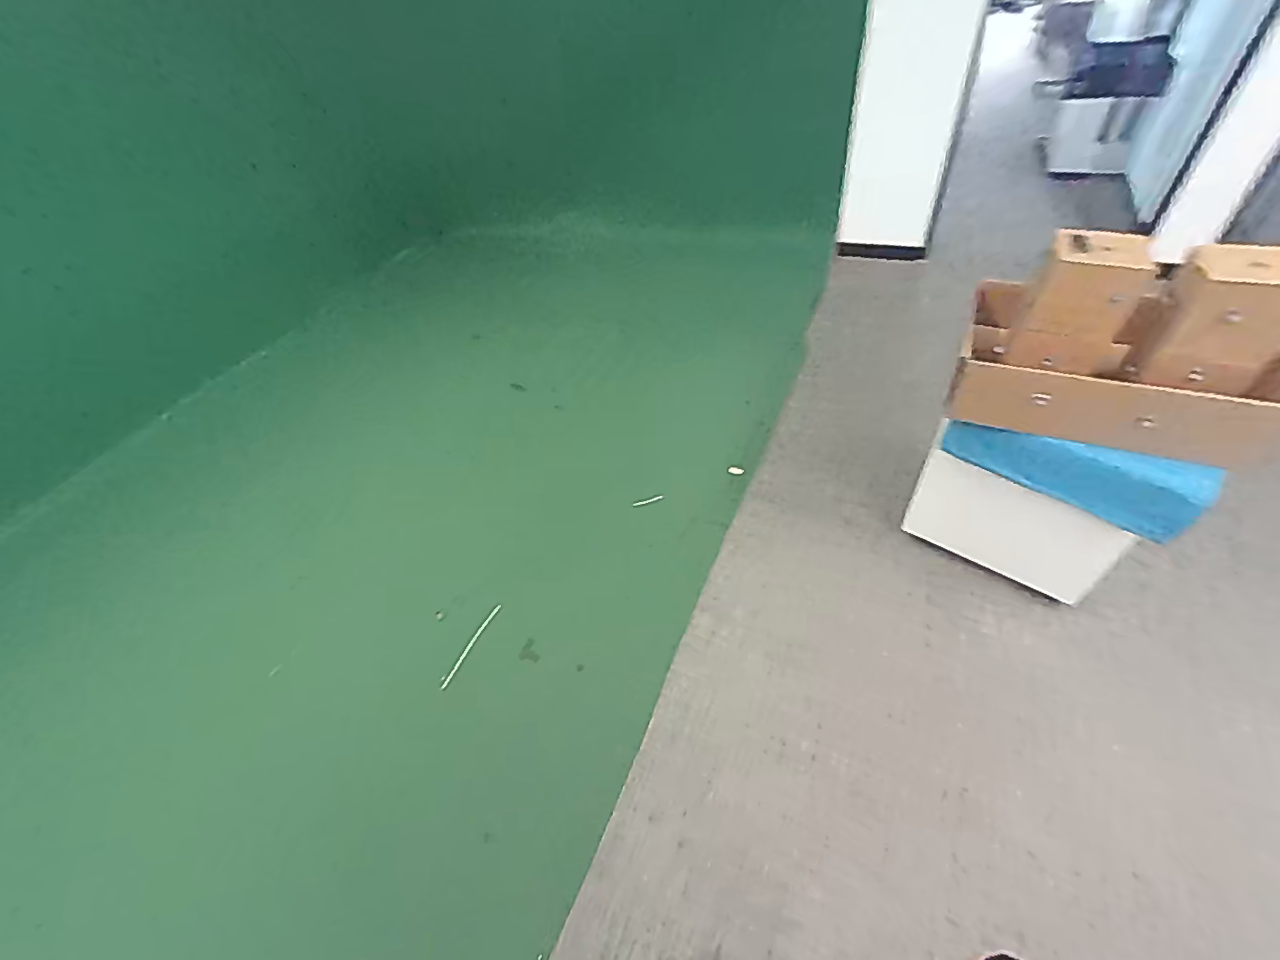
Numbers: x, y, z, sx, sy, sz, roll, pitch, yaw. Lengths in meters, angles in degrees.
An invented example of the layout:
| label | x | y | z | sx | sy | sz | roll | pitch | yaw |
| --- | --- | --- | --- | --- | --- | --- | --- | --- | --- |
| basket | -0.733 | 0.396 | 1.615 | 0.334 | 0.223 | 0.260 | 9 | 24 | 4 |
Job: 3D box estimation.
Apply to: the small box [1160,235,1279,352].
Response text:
| label | x | y | z | sx | sy | sz | roll | pitch | yaw |
| --- | --- | --- | --- | --- | --- | --- | --- | --- | --- |
| small box | 1.212 | -0.380 | 1.103 | 0.179 | 0.176 | 0.168 | 13 | 52 | 24 |
